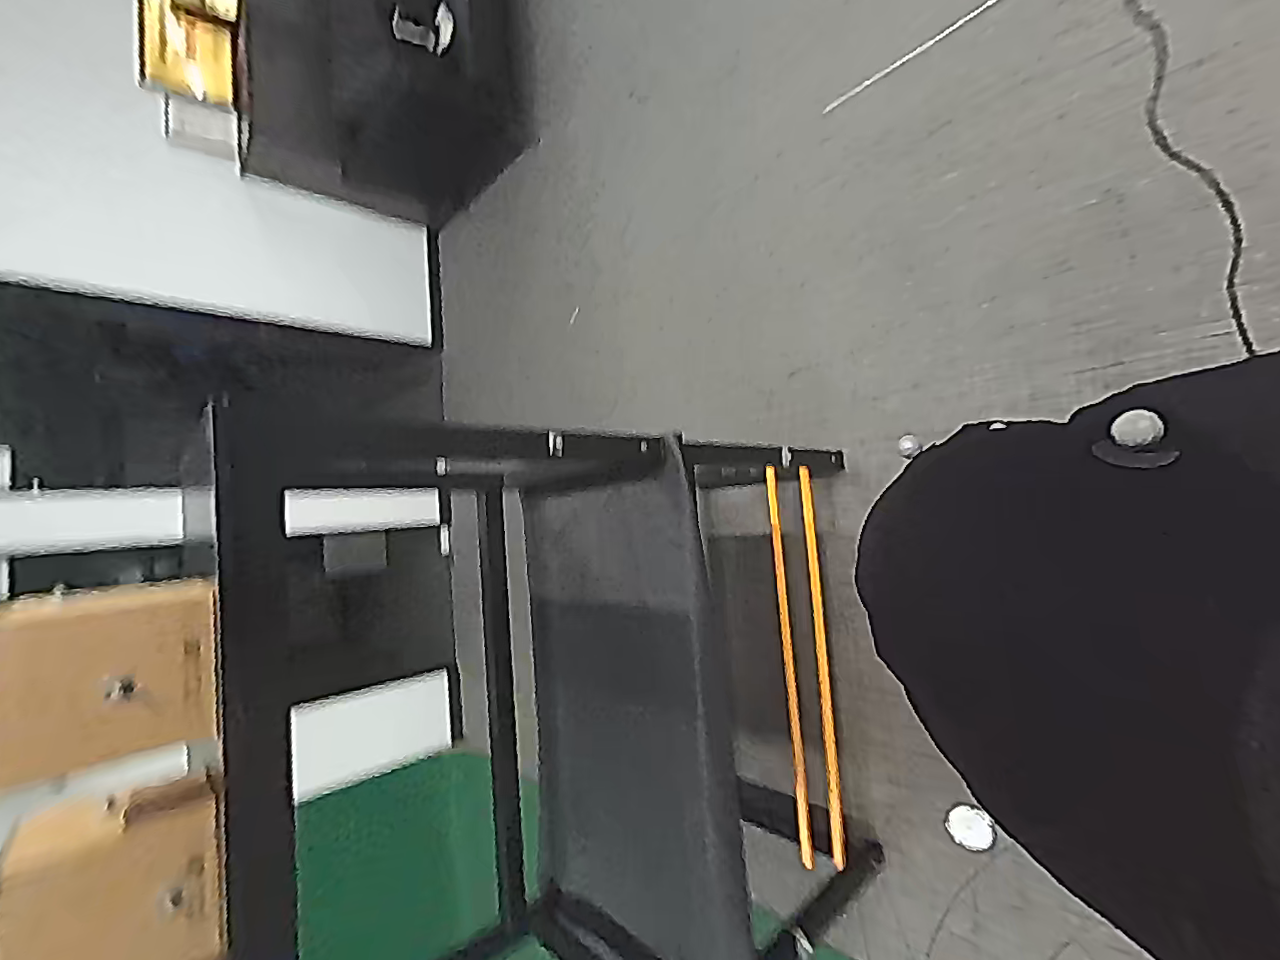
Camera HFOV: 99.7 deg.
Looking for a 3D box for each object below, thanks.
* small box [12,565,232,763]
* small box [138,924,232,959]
[{"bbox_3d":[-0.584,0.191,0.626,0.179,0.176,0.168,-6,86,48],"label":"small box"},{"bbox_3d":[-0.563,0.666,0.614,0.179,0.176,0.168,-6,86,48],"label":"small box"}]
